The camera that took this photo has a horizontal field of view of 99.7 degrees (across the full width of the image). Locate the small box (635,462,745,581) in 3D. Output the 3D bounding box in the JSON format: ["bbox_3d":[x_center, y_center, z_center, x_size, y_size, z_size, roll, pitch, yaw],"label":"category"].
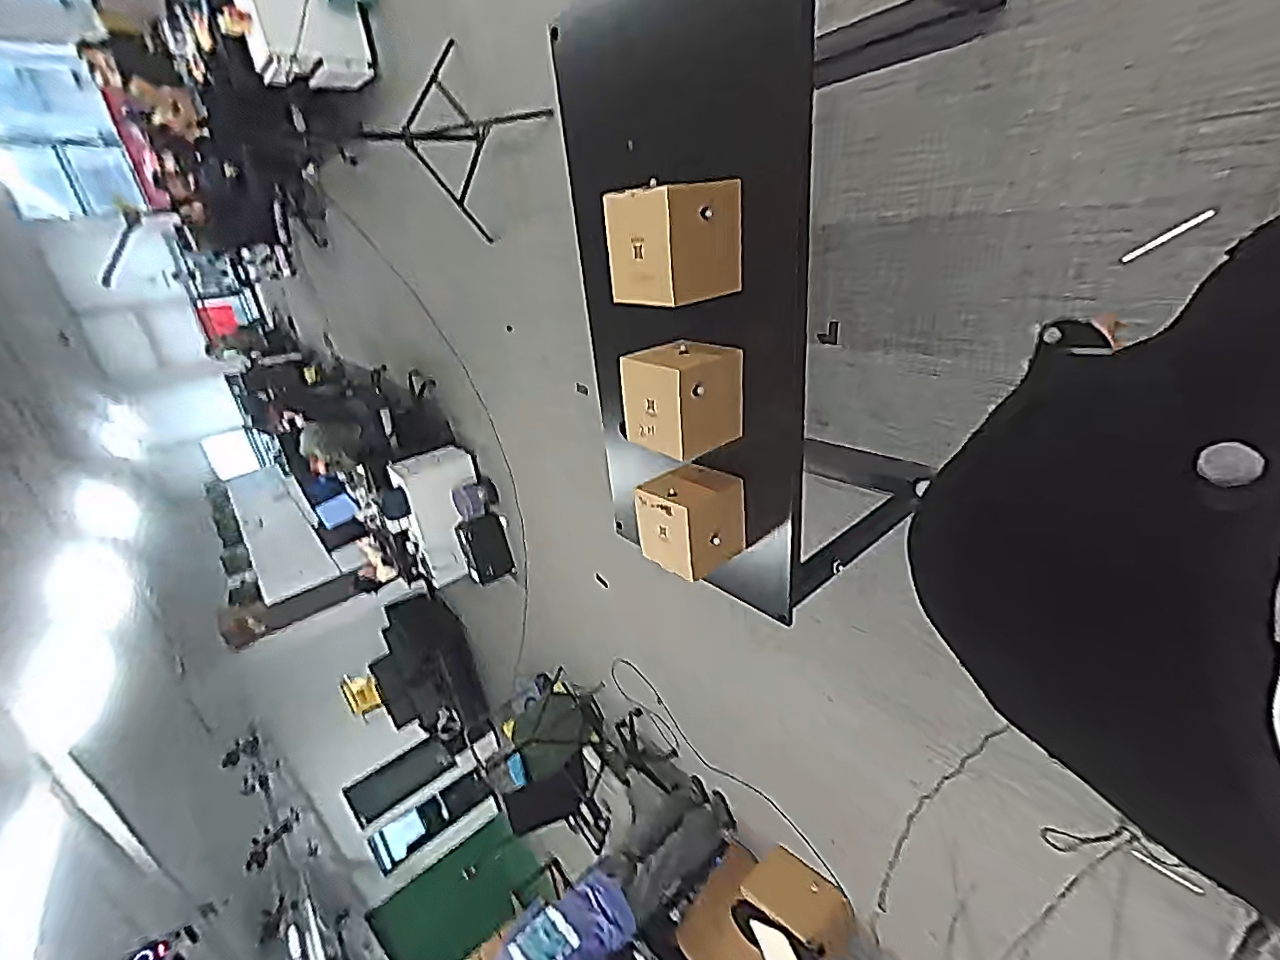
[{"bbox_3d":[0.114,0.083,1.172,0.168,0.176,0.179,20,126,47],"label":"small box"}]

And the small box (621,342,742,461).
[{"bbox_3d":[0.085,-0.162,1.055,0.168,0.176,0.179,25,130,46],"label":"small box"}]

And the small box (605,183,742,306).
[{"bbox_3d":[0.062,-0.407,0.934,0.168,0.176,0.179,24,129,48],"label":"small box"}]
